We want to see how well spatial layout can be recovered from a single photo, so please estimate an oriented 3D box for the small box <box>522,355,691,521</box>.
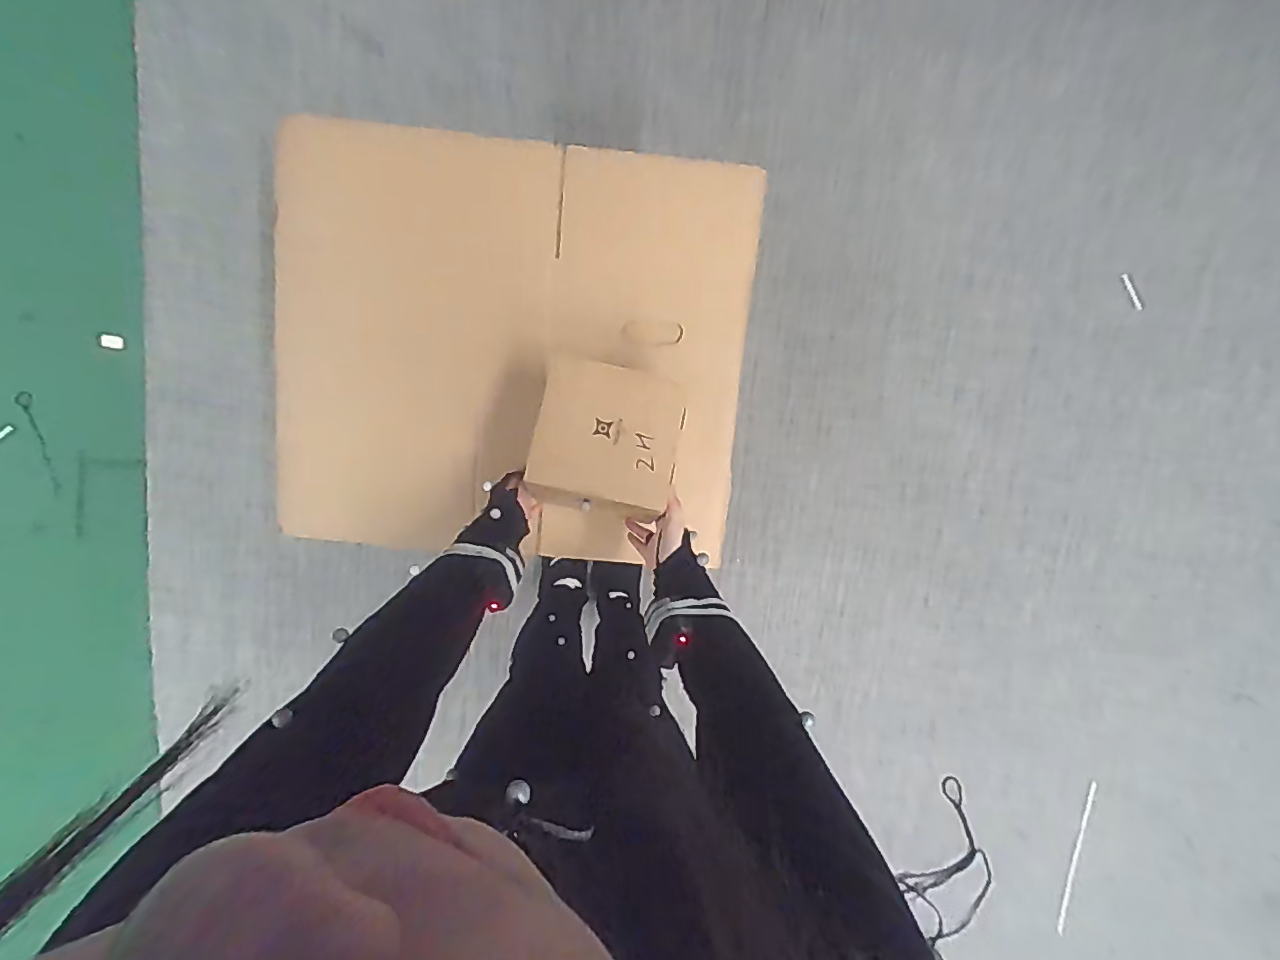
[{"bbox_3d":[-0.044,-0.045,0.732,0.179,0.176,0.168,13,80,-3],"label":"small box"}]
